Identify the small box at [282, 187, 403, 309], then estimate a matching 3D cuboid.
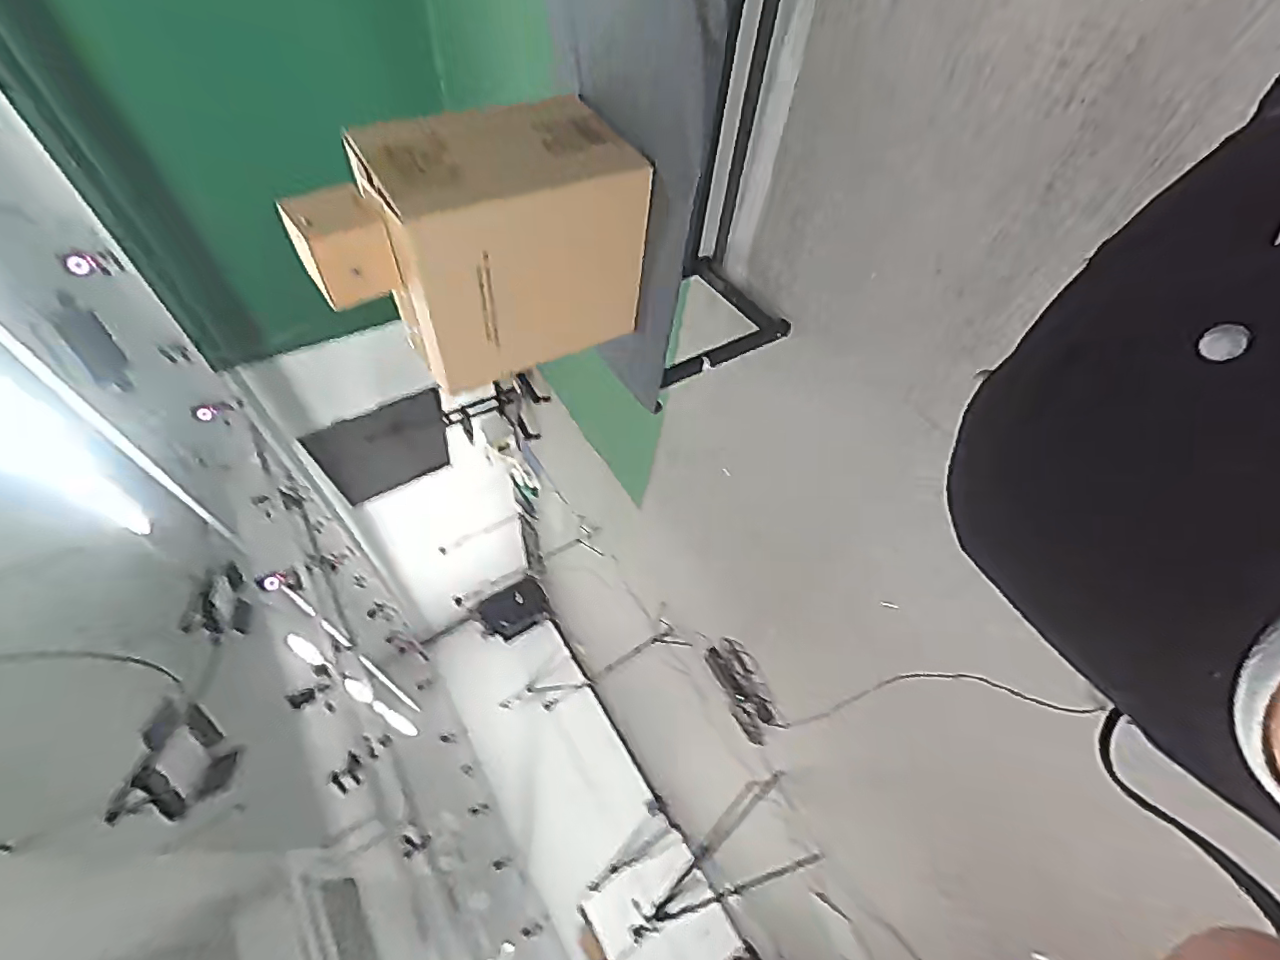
[{"bbox_3d":[-0.672,-0.535,1.244,0.168,0.176,0.179,48,153,21],"label":"small box"}]
